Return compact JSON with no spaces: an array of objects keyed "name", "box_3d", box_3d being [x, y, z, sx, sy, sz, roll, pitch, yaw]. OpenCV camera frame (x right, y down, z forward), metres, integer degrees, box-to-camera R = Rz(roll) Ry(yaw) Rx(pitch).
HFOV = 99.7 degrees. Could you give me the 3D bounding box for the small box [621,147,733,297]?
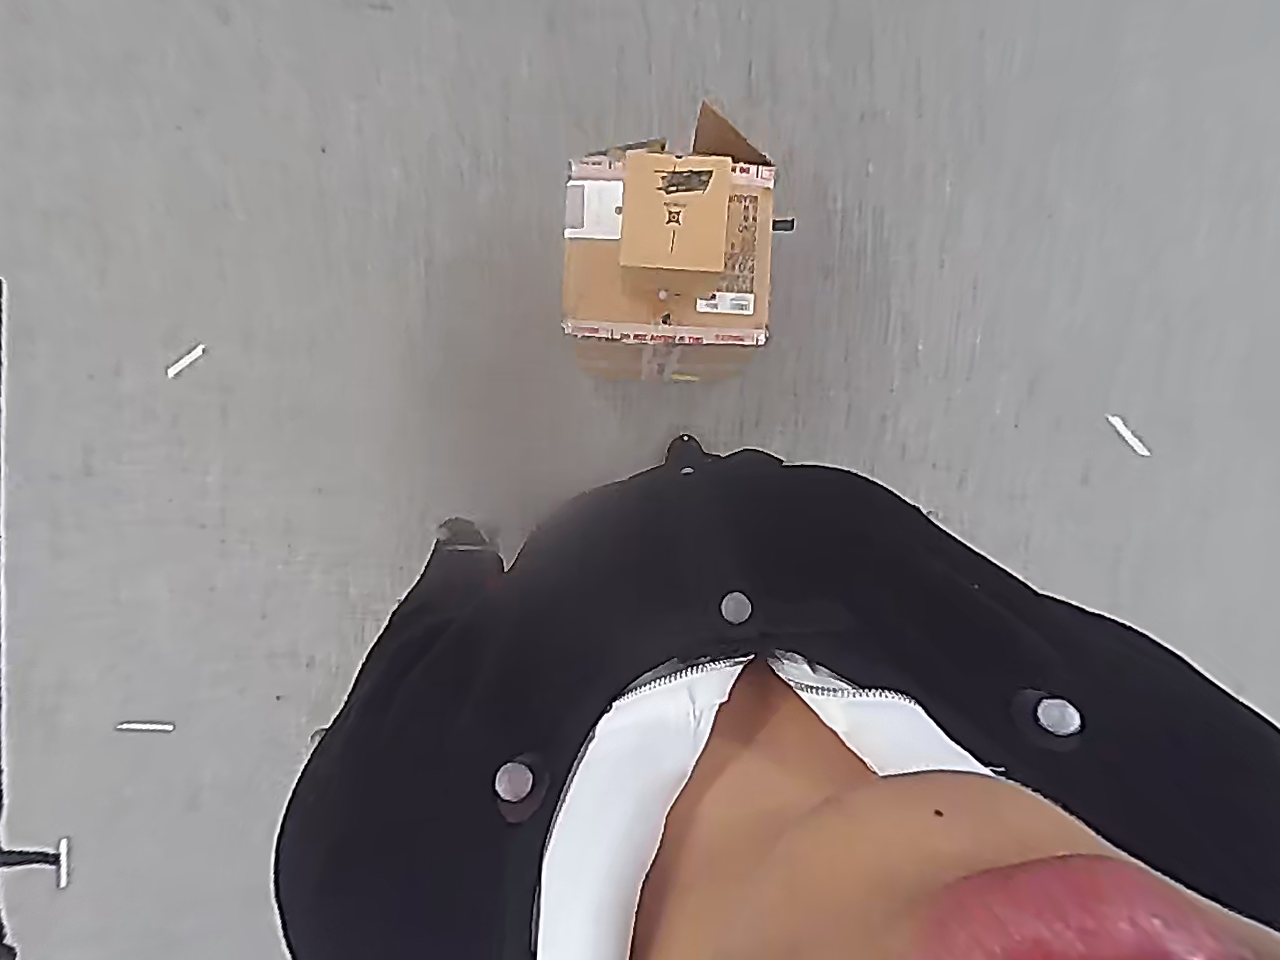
[{"name":"small box","box_3d":[0.055,-0.426,0.917,0.168,0.176,0.179,4,95,0]}]
